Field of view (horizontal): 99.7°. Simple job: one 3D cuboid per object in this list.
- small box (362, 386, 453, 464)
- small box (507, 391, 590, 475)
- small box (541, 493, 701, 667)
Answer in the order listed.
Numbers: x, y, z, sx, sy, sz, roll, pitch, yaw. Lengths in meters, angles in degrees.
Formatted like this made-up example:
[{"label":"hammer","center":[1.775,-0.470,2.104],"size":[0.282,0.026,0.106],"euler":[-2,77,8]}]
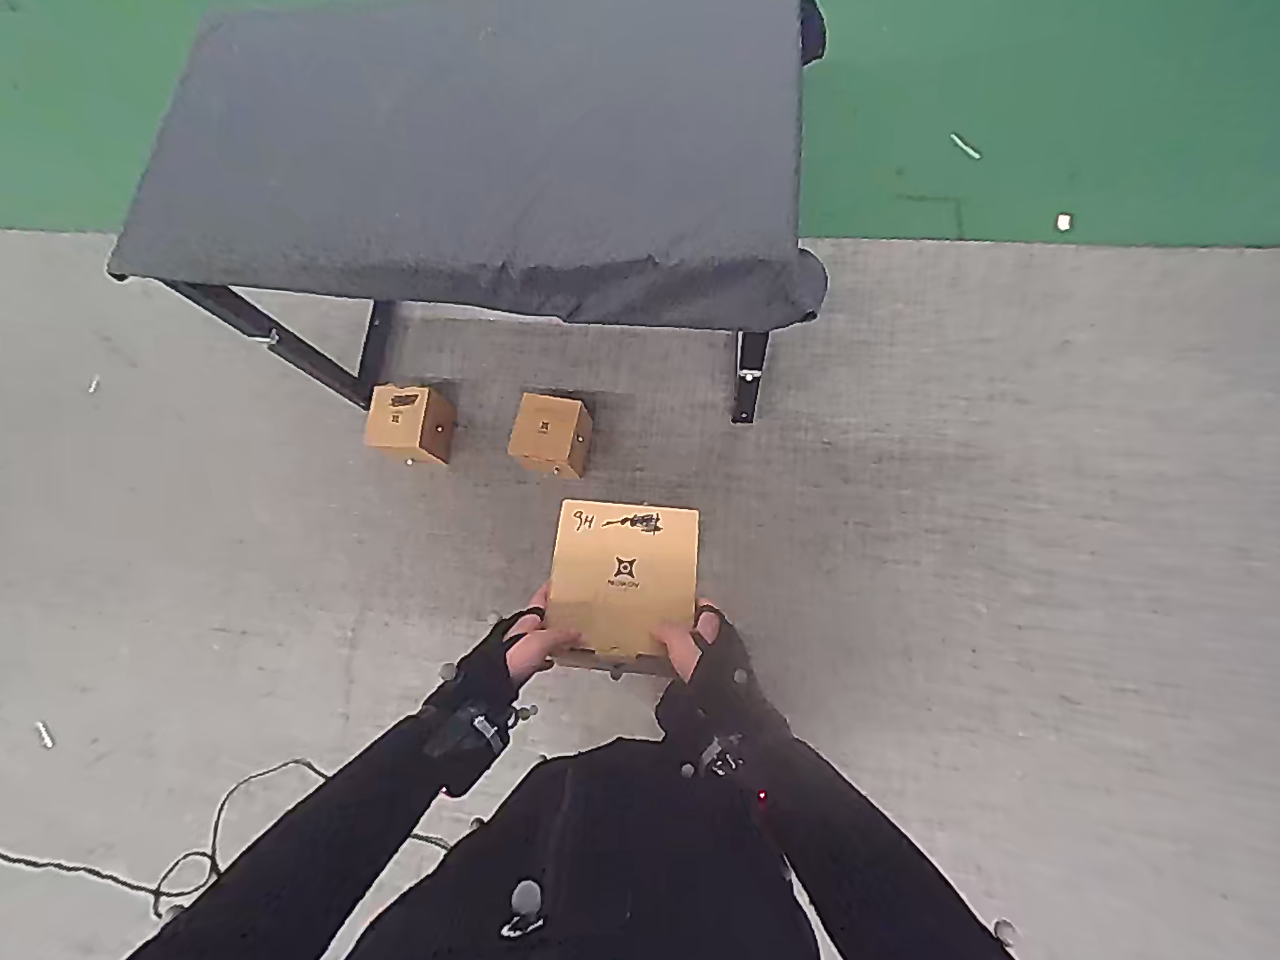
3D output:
[{"label":"small box","center":[-0.652,-0.153,1.539],"size":[0.168,0.176,0.179],"euler":[2,77,8]},{"label":"small box","center":[-0.243,-0.124,1.481],"size":[0.168,0.176,0.179],"euler":[8,76,8]},{"label":"small box","center":[-0.016,0.131,0.672],"size":[0.168,0.176,0.179],"euler":[4,66,1]}]
